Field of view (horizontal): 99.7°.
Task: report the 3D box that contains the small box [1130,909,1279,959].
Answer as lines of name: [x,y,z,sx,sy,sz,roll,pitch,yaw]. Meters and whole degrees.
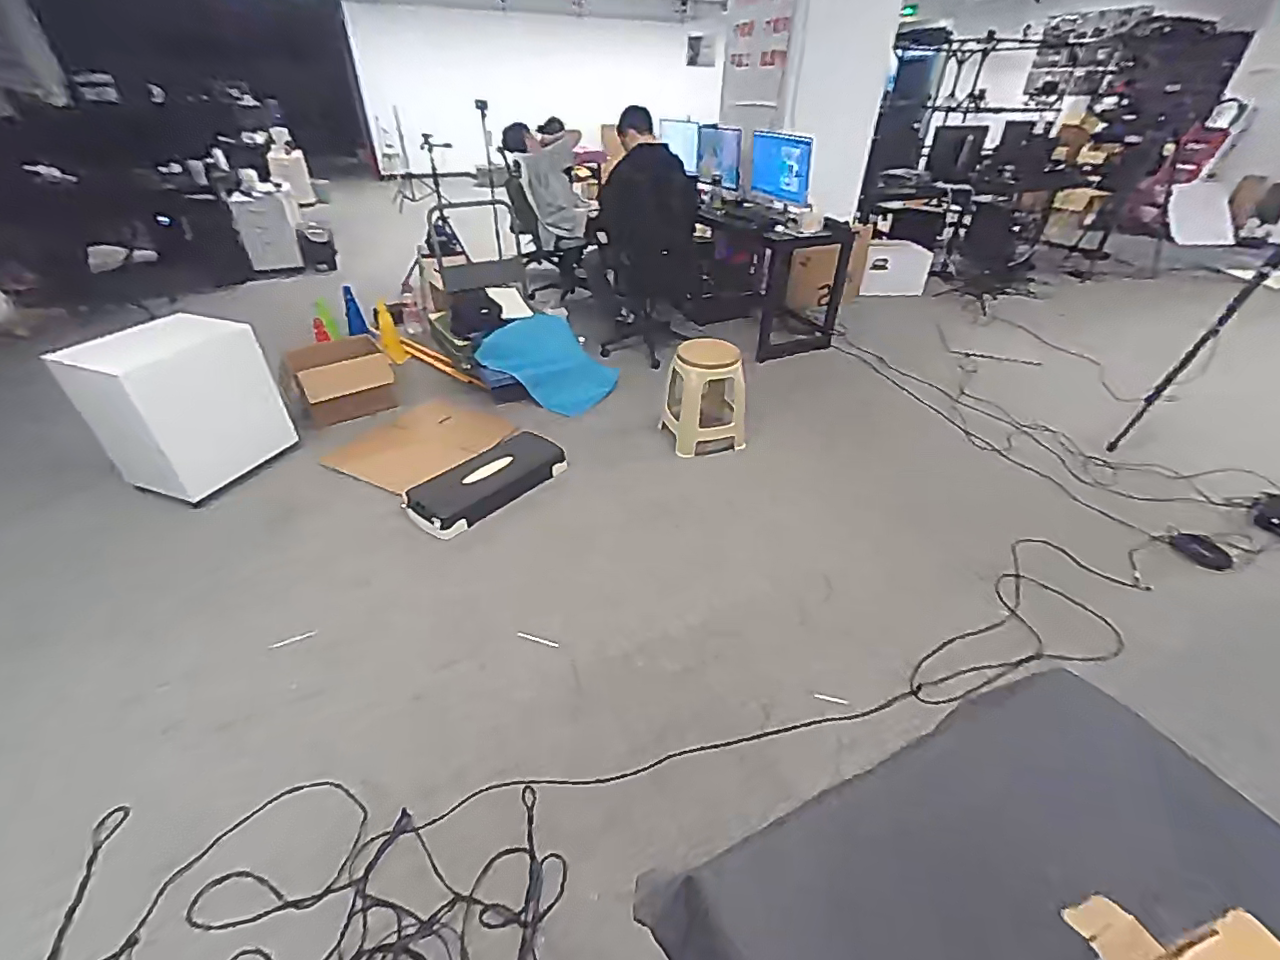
small box: [0.411,0.449,0.370,0.168,0.176,0.179,-18,39,-11]
